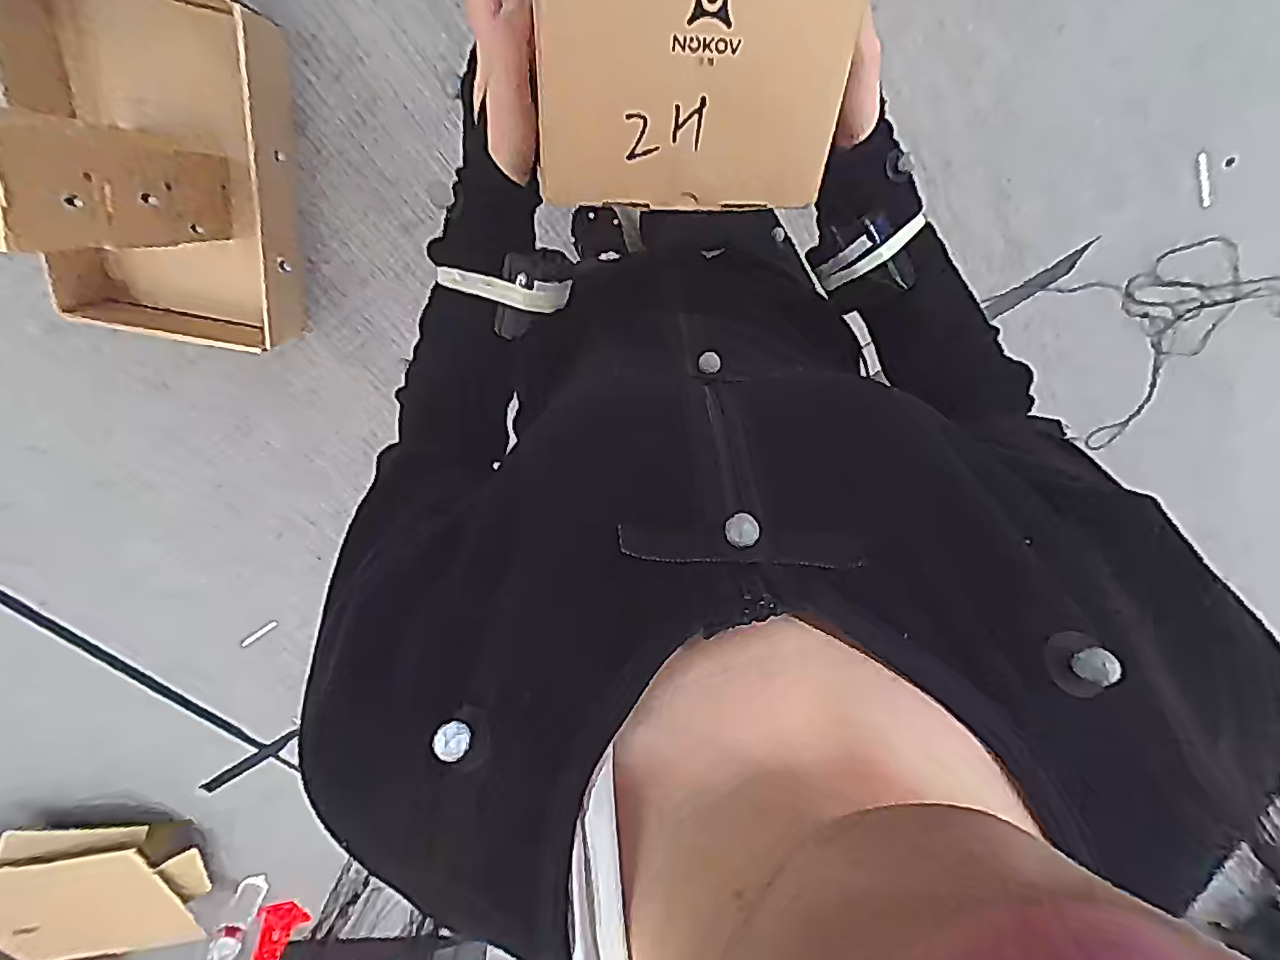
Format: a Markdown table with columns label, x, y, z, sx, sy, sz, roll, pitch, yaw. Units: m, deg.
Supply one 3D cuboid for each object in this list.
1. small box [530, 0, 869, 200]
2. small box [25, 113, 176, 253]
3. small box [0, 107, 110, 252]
| label | x | y | z | sx | sy | sz | roll | pitch | yaw |
| --- | --- | --- | --- | --- | --- | --- | --- | --- | --- |
| small box | 0.020 | -0.285 | 0.323 | 0.168 | 0.176 | 0.179 | -4 | 132 | -10 |
| small box | -0.925 | -0.499 | 0.910 | 0.179 | 0.176 | 0.168 | 12 | 114 | -12 |
| small box | -0.917 | -0.433 | 0.761 | 0.179 | 0.176 | 0.168 | 12 | 114 | -11 |
